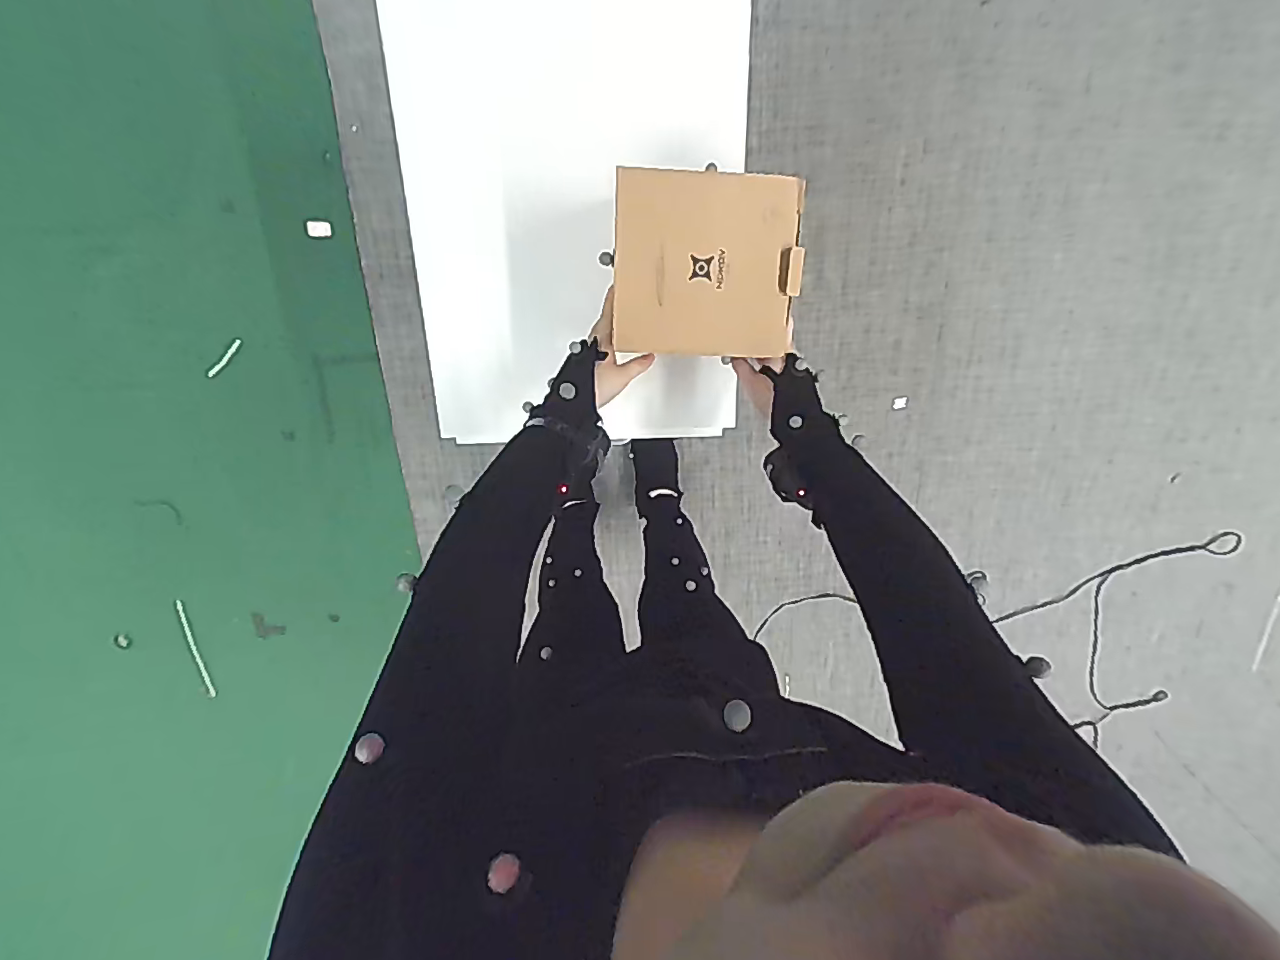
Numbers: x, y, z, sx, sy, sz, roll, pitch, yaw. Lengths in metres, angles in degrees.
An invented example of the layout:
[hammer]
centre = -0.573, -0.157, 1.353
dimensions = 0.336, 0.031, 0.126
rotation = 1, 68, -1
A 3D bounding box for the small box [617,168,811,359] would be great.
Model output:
[small box]
centre = 0.064, -0.226, 0.589
dimensions = 0.179, 0.176, 0.168
rotation = 1, 107, -2
